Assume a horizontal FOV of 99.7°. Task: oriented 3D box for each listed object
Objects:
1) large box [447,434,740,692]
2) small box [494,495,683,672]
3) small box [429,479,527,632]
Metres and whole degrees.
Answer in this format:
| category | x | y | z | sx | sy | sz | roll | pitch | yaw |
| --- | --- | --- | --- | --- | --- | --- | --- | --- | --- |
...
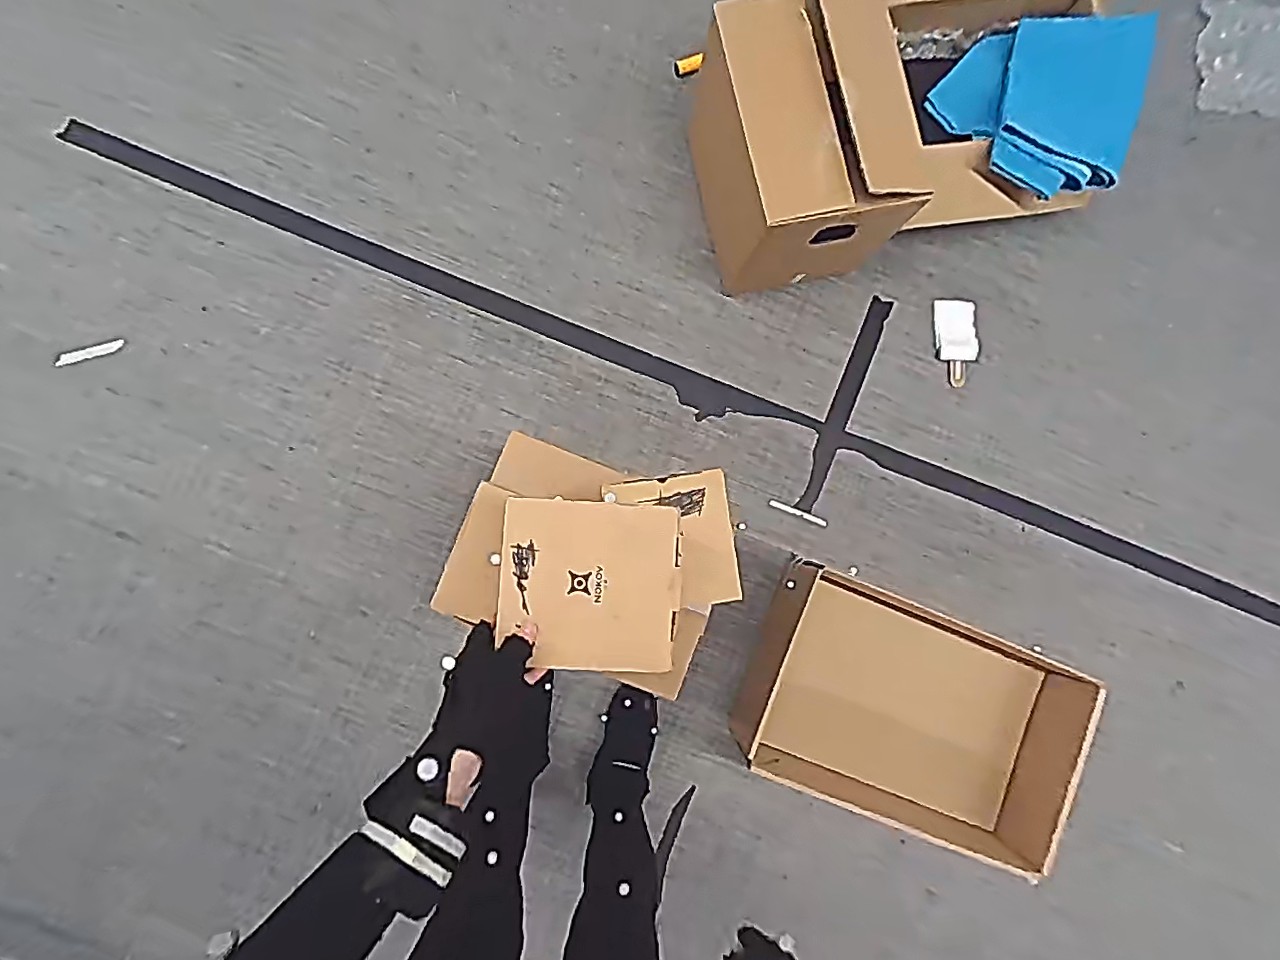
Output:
| category | x | y | z | sx | sy | sz | roll | pitch | yaw |
| --- | --- | --- | --- | --- | --- | --- | --- | --- | --- |
| large box | -0.085 | 0.141 | 1.010 | 0.408 | 0.320 | 0.320 | 21 | 86 | -3 |
| small box | -0.055 | 0.106 | 0.605 | 0.179 | 0.176 | 0.168 | 4 | 85 | -4 |
| small box | -0.166 | 0.113 | 0.763 | 0.168 | 0.176 | 0.179 | 21 | 84 | -5 |
